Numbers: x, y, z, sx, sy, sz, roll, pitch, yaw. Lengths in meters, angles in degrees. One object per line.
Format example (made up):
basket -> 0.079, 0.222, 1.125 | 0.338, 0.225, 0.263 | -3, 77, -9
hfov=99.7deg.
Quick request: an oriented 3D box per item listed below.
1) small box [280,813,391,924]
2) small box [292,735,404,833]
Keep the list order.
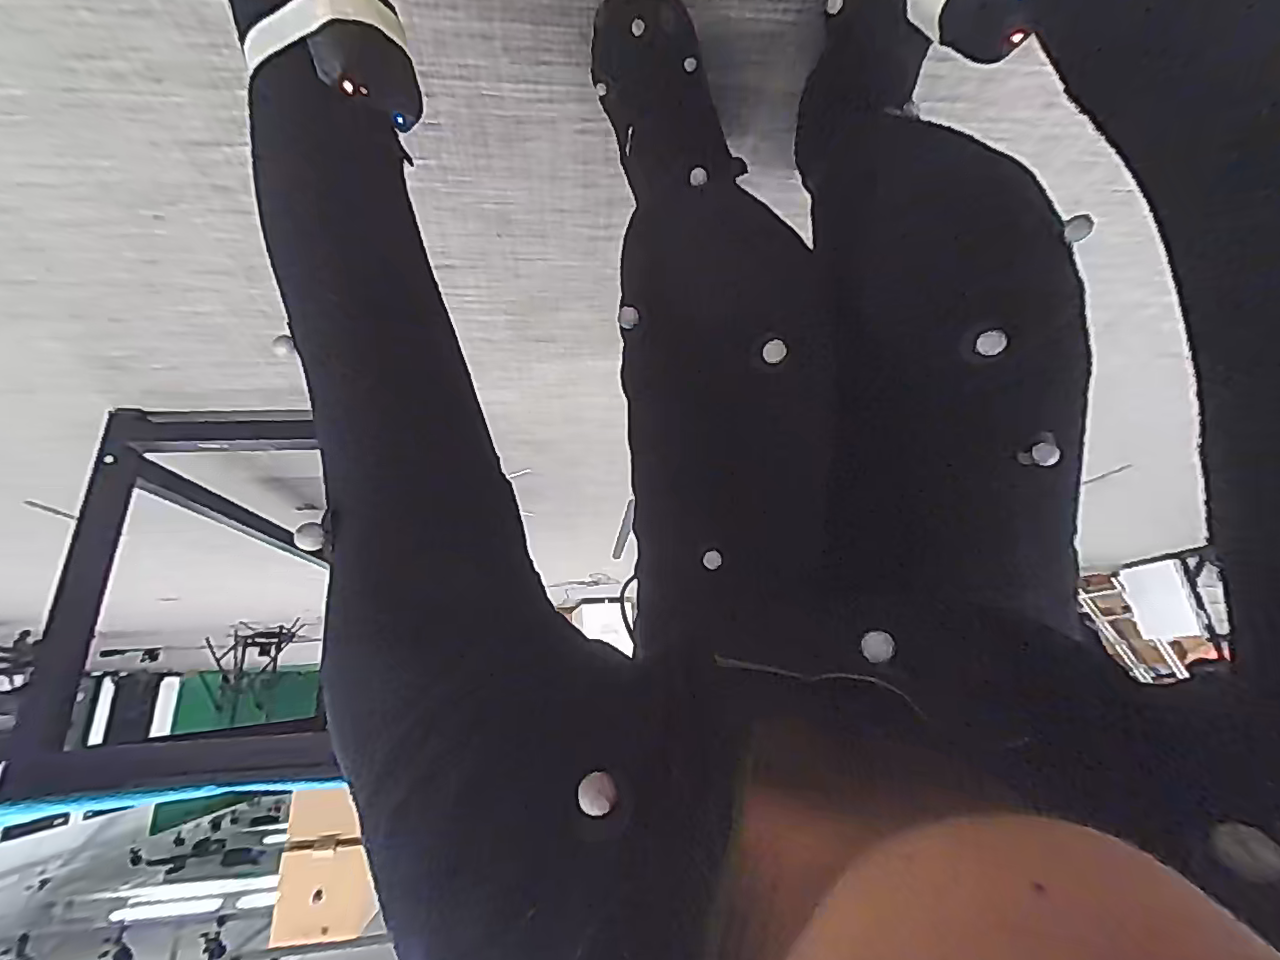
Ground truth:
small box -> -0.670, 0.856, 1.203 | 0.168, 0.176, 0.179 | 1, 163, -7
small box -> -0.674, 0.704, 1.263 | 0.179, 0.176, 0.168 | -1, 161, -6
